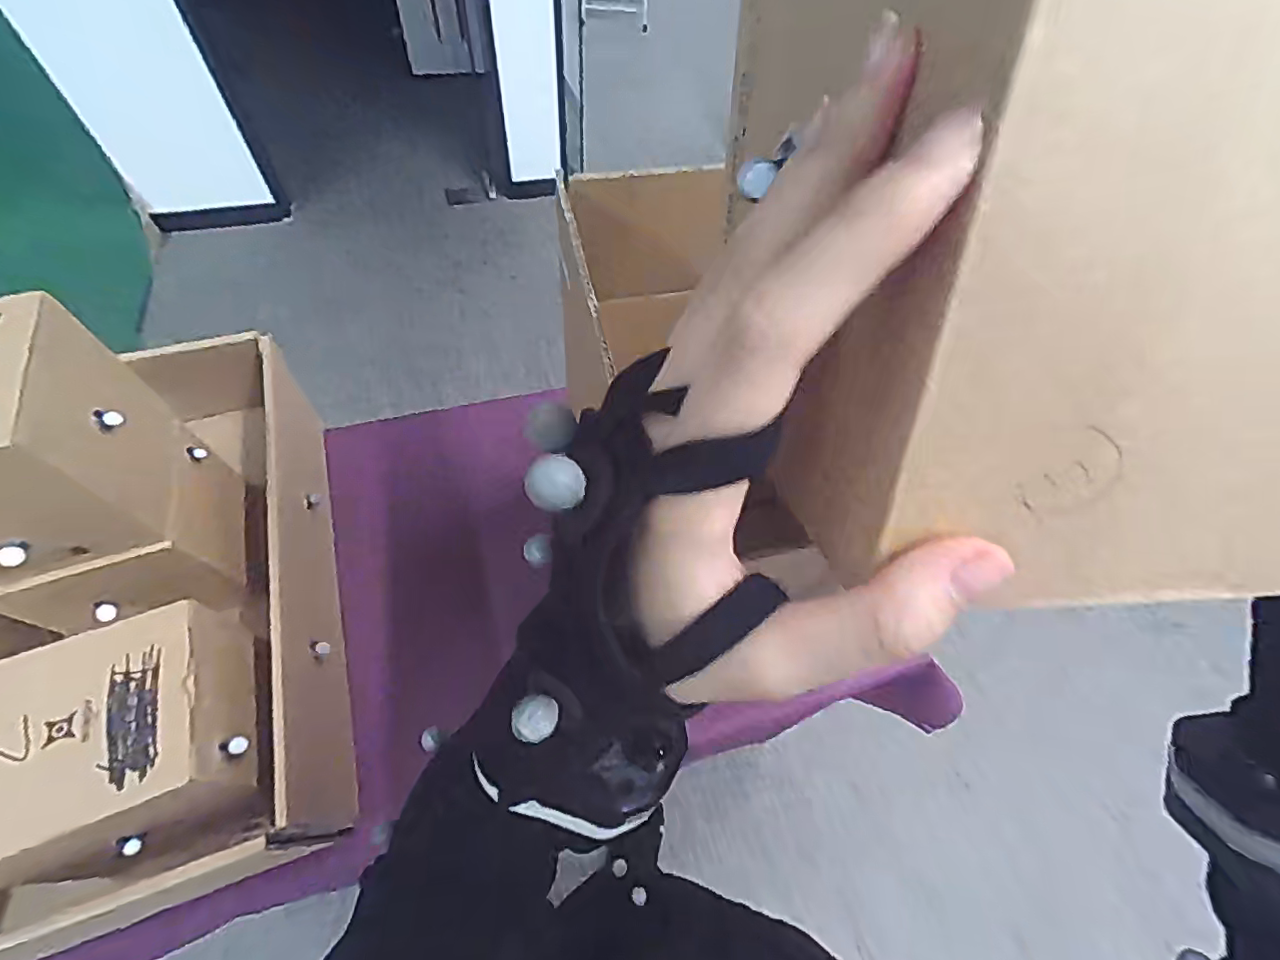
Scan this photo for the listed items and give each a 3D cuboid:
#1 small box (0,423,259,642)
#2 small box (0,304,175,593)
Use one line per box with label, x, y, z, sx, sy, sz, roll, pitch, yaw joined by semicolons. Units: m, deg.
small box;-0.571;0.069;0.621;0.168;0.176;0.179;-18;61;-14
small box;-0.564;-0.022;0.485;0.168;0.176;0.179;-17;62;-13
